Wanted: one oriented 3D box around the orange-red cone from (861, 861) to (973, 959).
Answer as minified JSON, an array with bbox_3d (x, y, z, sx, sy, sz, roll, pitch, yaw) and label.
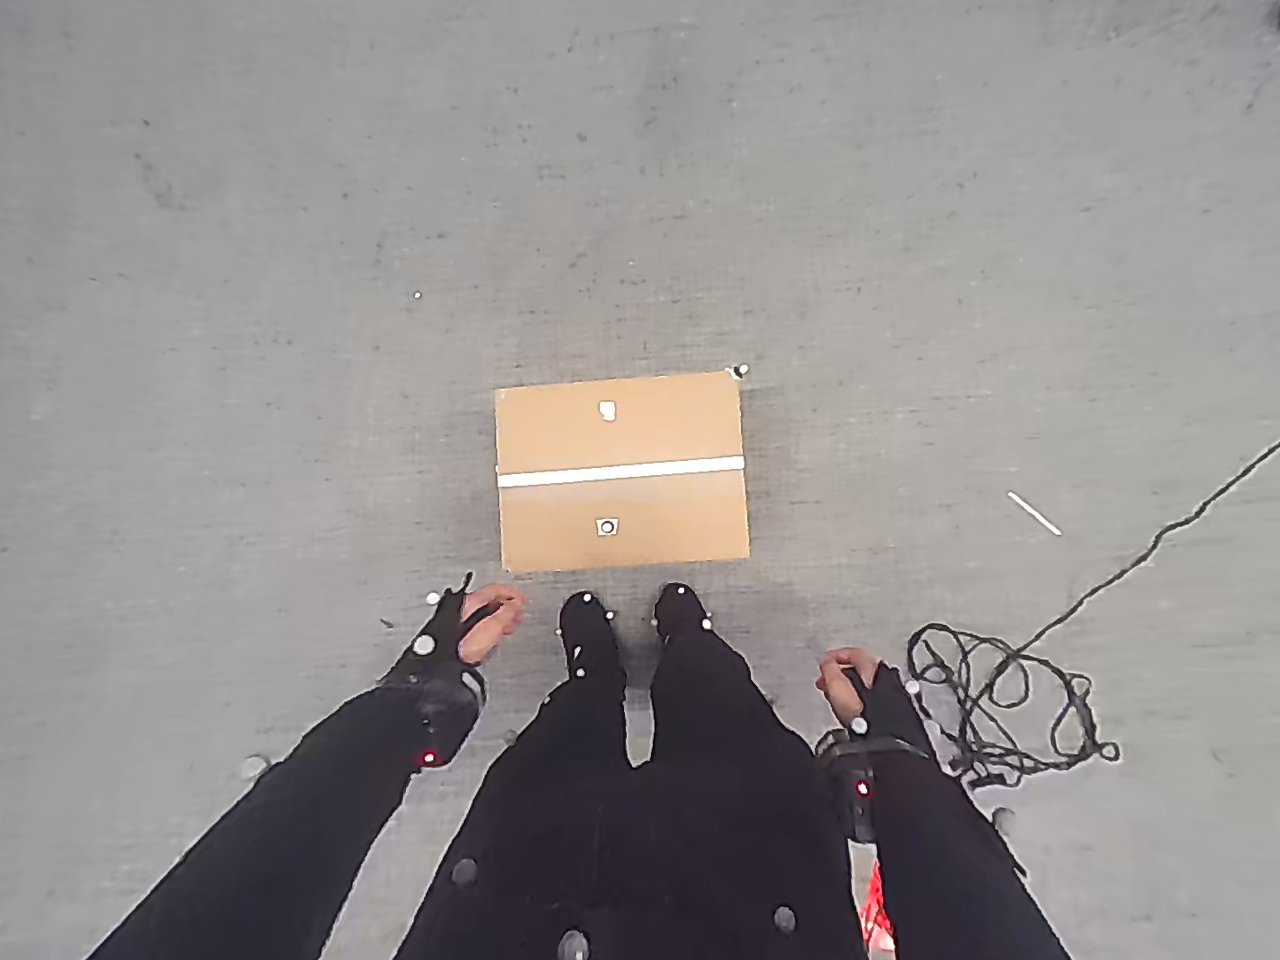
[{"bbox_3d":[0.573,0.903,0.951,0.199,0.360,0.198,16,89,1],"label":"orange-red cone"}]
